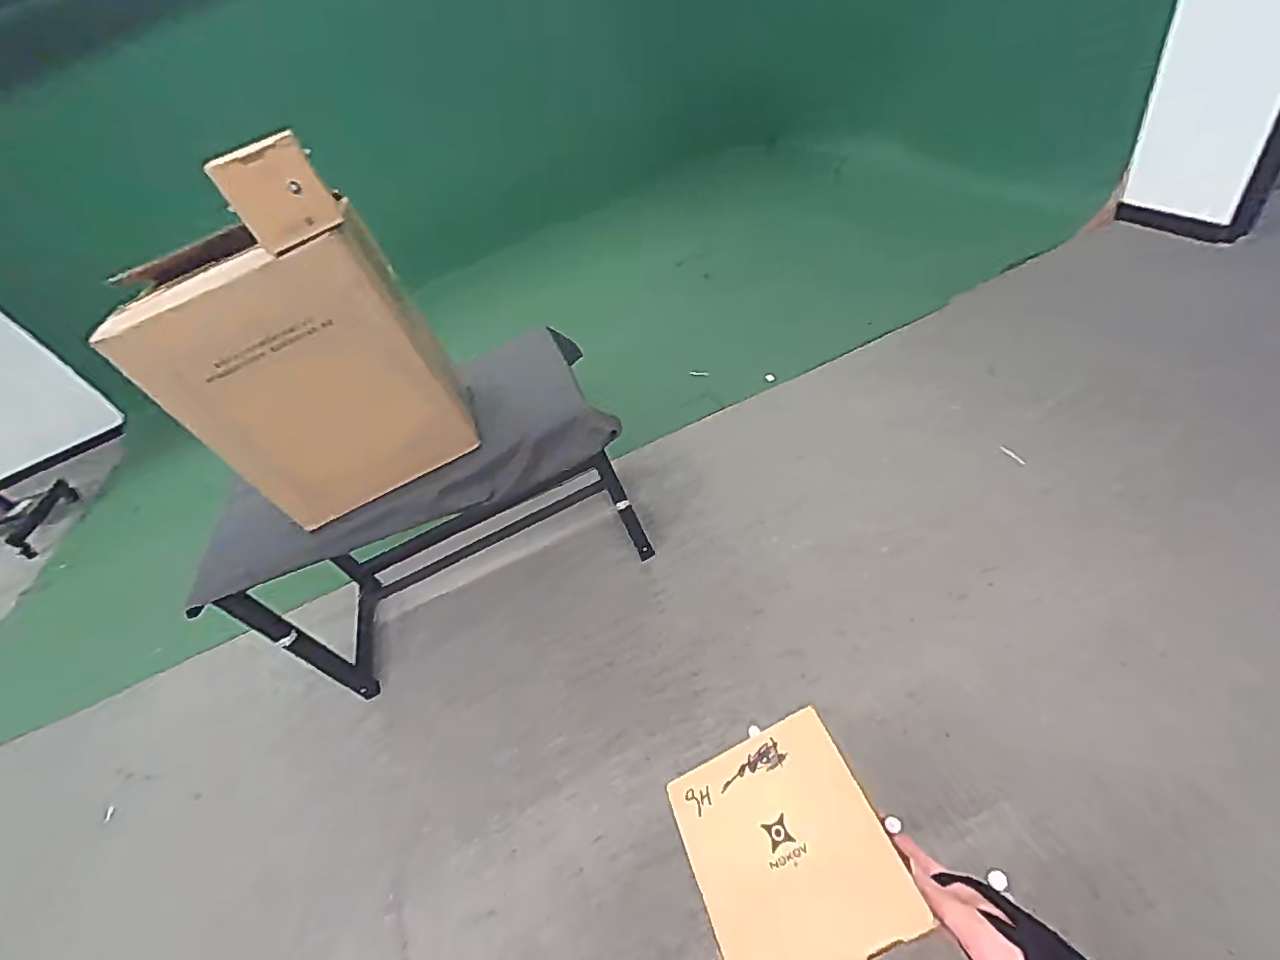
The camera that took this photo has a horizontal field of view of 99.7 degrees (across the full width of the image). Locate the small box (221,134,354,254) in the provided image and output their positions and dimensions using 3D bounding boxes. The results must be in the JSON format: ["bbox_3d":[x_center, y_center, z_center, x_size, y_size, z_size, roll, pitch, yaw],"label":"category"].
[{"bbox_3d":[-0.725,-0.595,1.131,0.168,0.176,0.179,-30,42,-10],"label":"small box"}]
